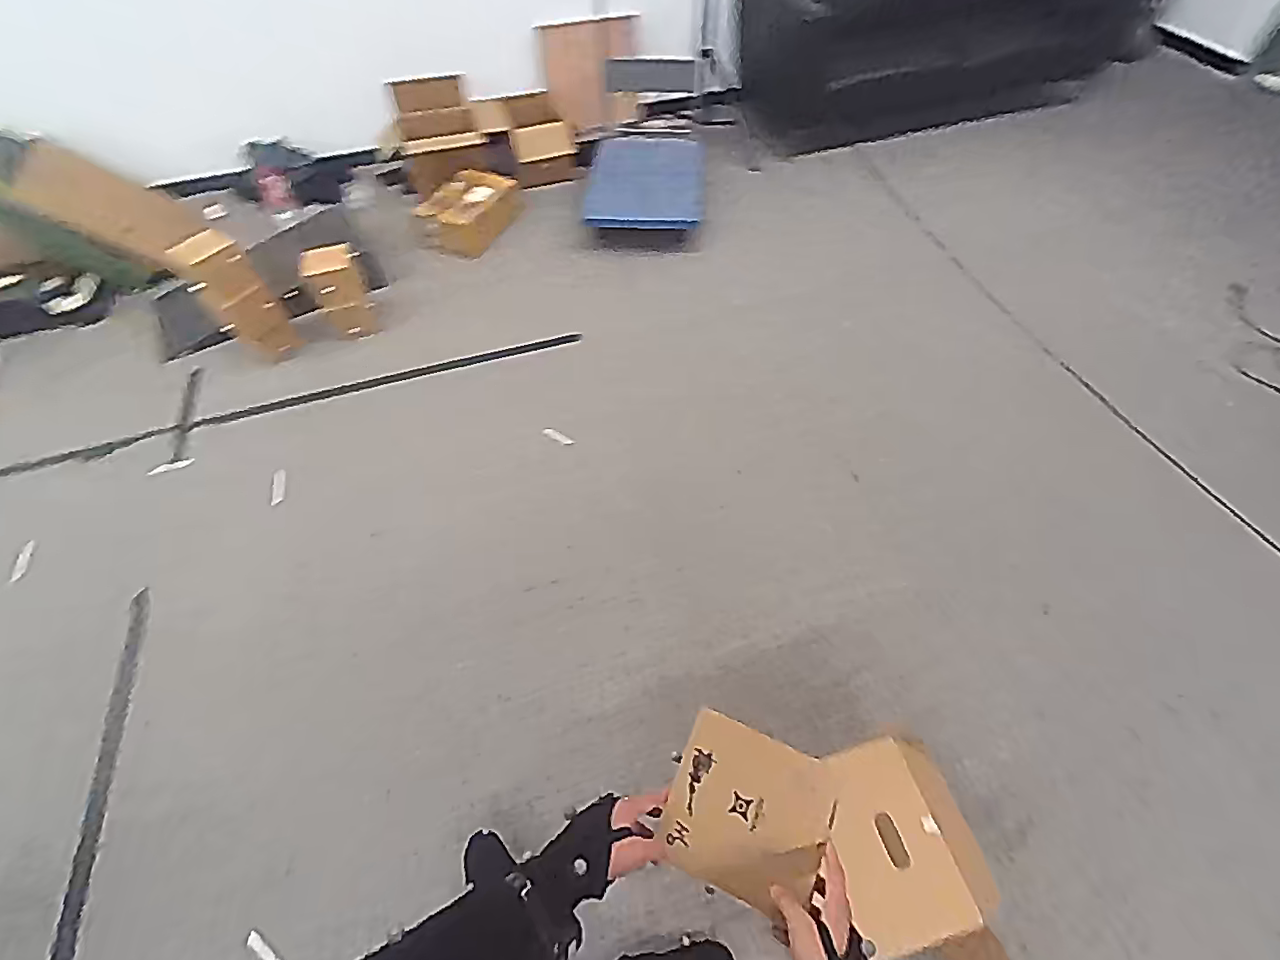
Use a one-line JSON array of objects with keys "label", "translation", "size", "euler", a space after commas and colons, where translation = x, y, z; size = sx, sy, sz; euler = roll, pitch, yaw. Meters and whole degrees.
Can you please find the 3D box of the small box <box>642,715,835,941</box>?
[{"label": "small box", "translation": [0.118, 0.419, 0.681], "size": [0.179, 0.176, 0.168], "euler": [21, 64, 15]}]
